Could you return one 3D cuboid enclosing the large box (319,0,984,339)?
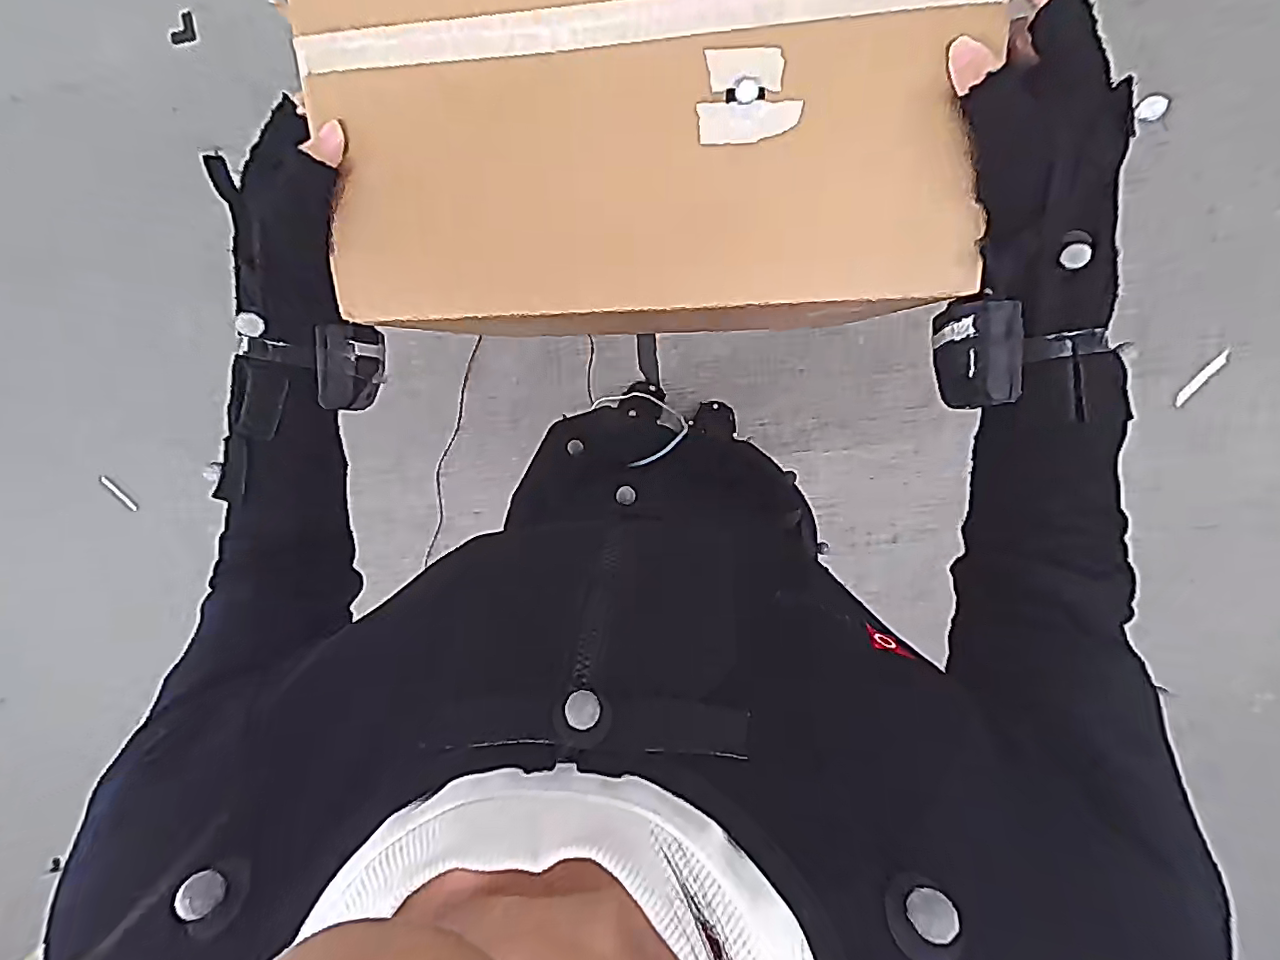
[{"bbox_3d":[0.011,-0.299,0.469,0.408,0.320,0.320,-2,103,6],"label":"large box"}]
